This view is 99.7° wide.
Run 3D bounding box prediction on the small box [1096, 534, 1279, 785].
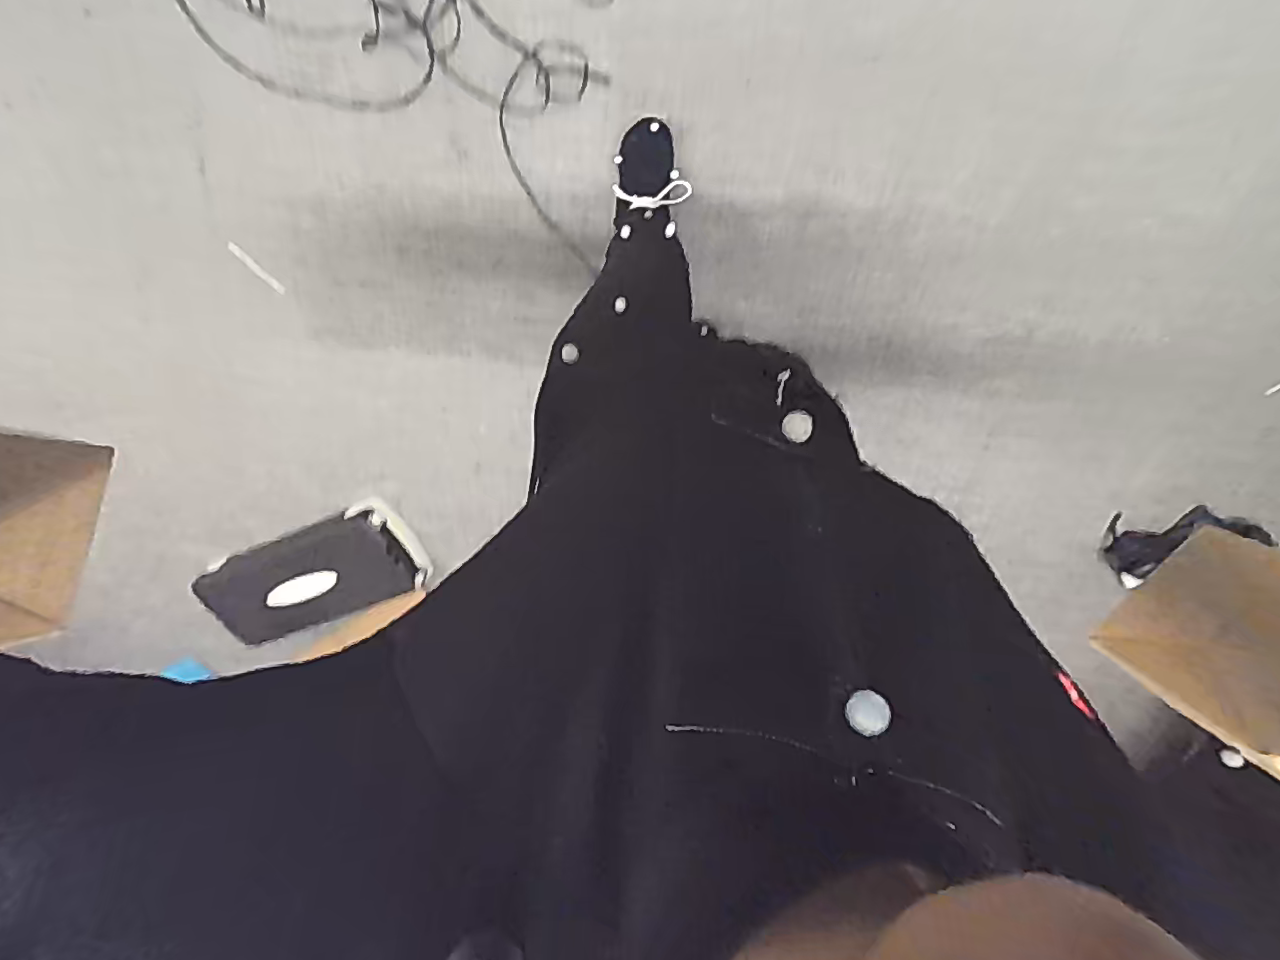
[{"bbox_3d":[0.604,0.179,0.525,0.176,0.179,0.168,35,102,-9],"label":"small box"}]
